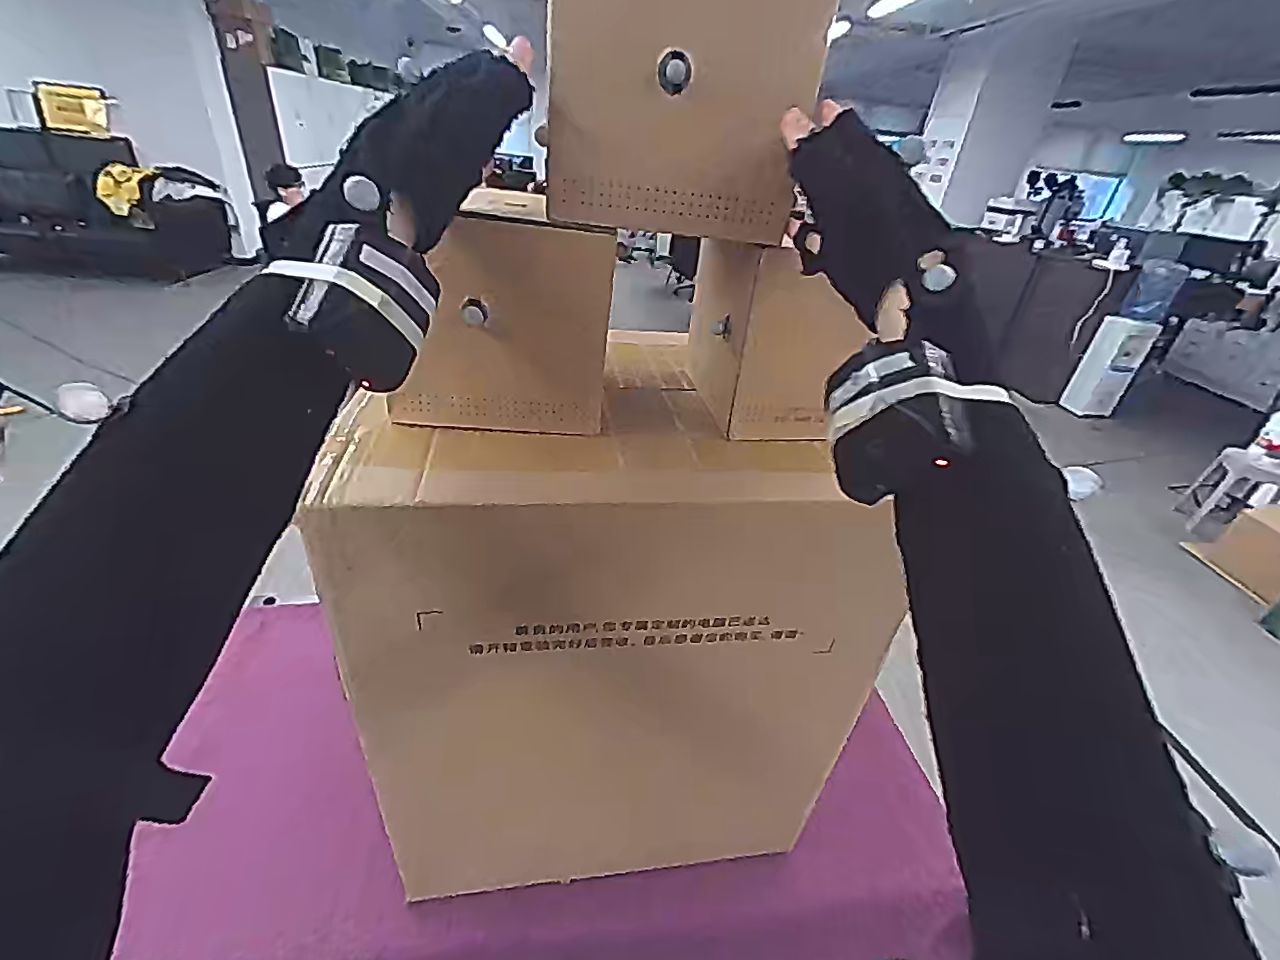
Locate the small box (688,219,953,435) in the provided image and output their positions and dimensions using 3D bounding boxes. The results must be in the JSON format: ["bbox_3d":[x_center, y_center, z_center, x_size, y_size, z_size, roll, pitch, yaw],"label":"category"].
[{"bbox_3d":[0.153,-0.152,0.527,0.168,0.176,0.179,-1,31,-11],"label":"small box"}]

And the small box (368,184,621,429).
[{"bbox_3d":[-0.116,-0.156,0.482,0.179,0.176,0.168,3,32,-9],"label":"small box"}]

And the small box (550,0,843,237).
[{"bbox_3d":[0.027,-0.291,0.414,0.179,0.176,0.168,3,32,-6],"label":"small box"}]
